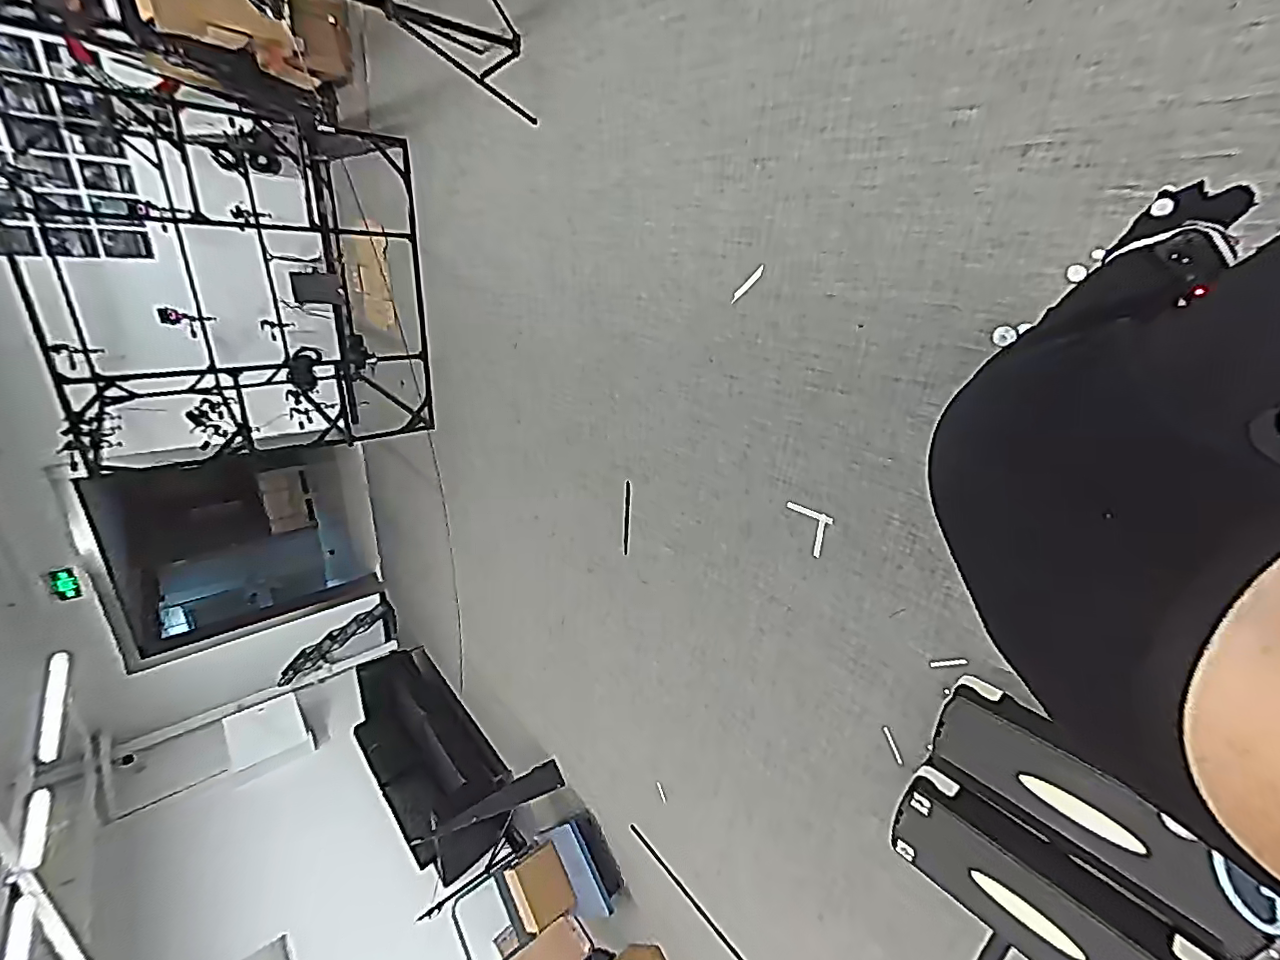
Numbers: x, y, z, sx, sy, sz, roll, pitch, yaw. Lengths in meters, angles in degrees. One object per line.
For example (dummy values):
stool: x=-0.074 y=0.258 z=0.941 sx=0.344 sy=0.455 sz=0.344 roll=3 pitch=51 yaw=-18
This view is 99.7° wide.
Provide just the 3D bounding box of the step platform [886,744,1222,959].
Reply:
step platform: x=1.018 y=1.046 z=1.425 sx=0.684 sy=0.204 sz=0.286 roll=27 pitch=122 yaw=45
